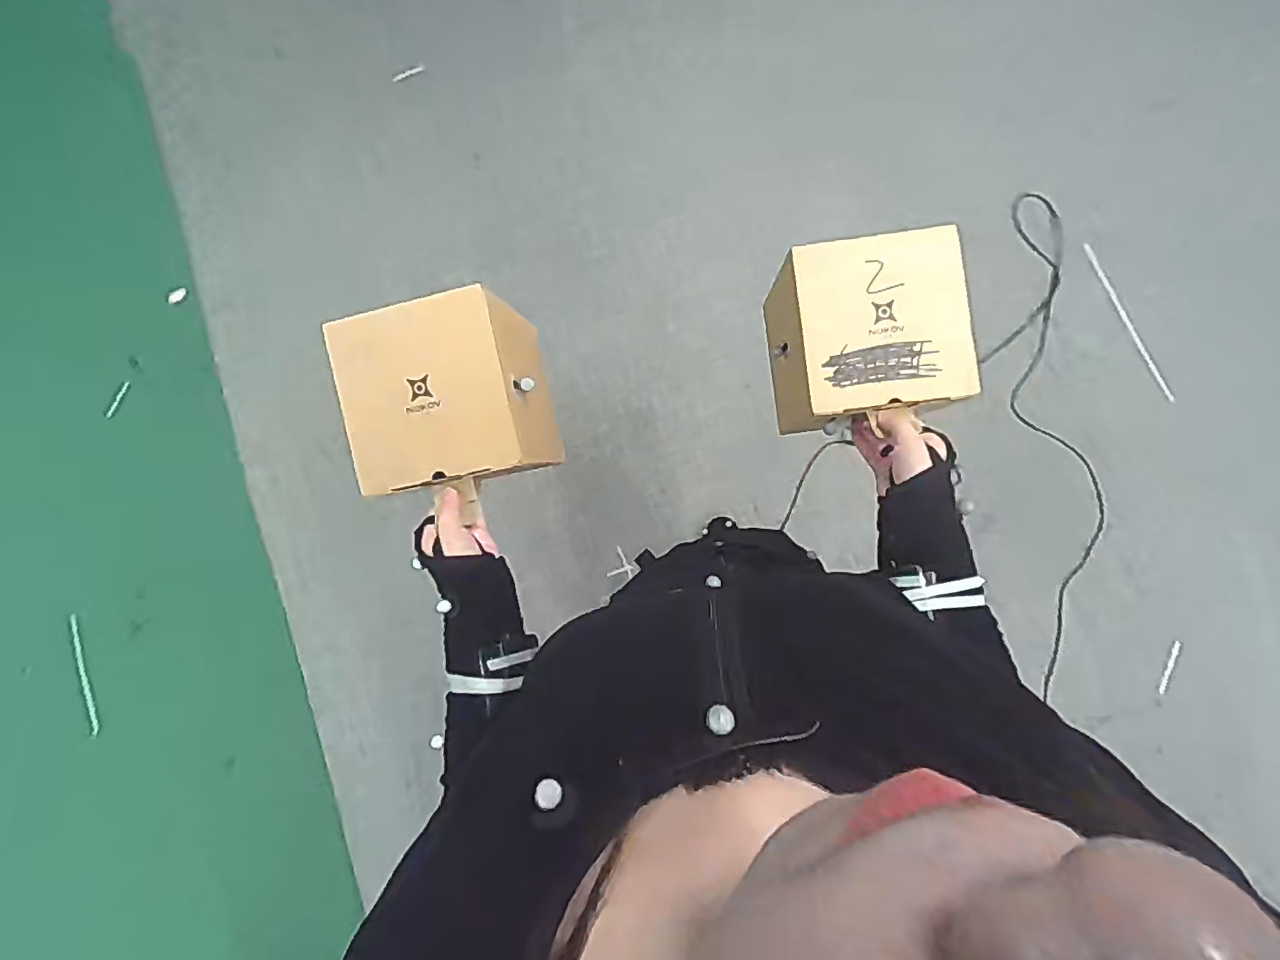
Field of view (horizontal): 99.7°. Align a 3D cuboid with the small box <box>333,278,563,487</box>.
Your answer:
[{"bbox_3d":[-0.194,-0.095,0.593,0.168,0.176,0.179,-11,93,6],"label":"small box"}]
